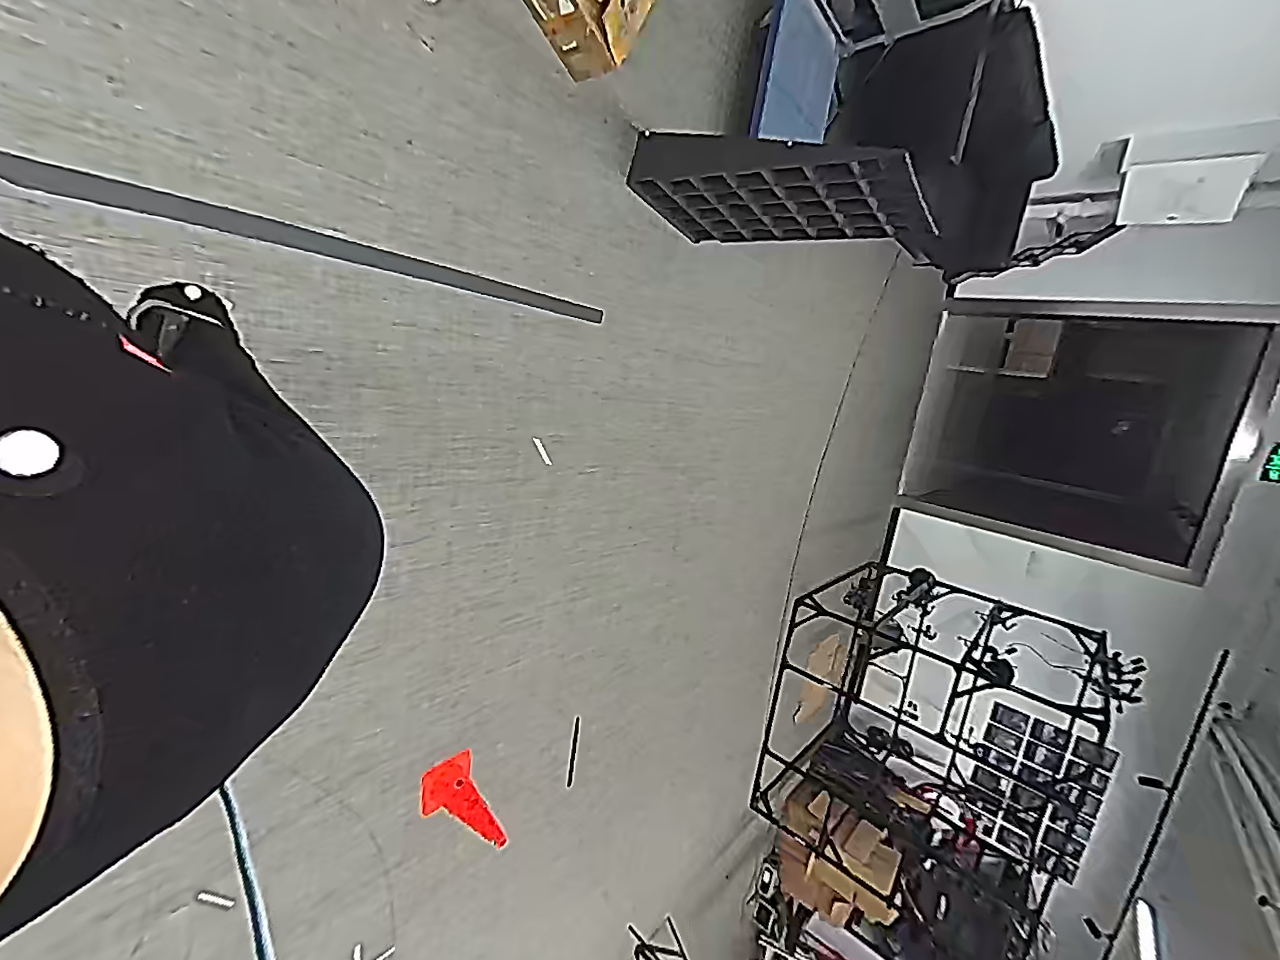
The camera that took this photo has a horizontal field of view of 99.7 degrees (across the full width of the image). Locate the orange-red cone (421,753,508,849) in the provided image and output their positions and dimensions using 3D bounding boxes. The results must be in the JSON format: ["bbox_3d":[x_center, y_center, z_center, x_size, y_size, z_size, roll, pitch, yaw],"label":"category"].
[{"bbox_3d":[-0.591,1.173,1.904,0.198,0.360,0.199,-11,110,-50],"label":"orange-red cone"}]
